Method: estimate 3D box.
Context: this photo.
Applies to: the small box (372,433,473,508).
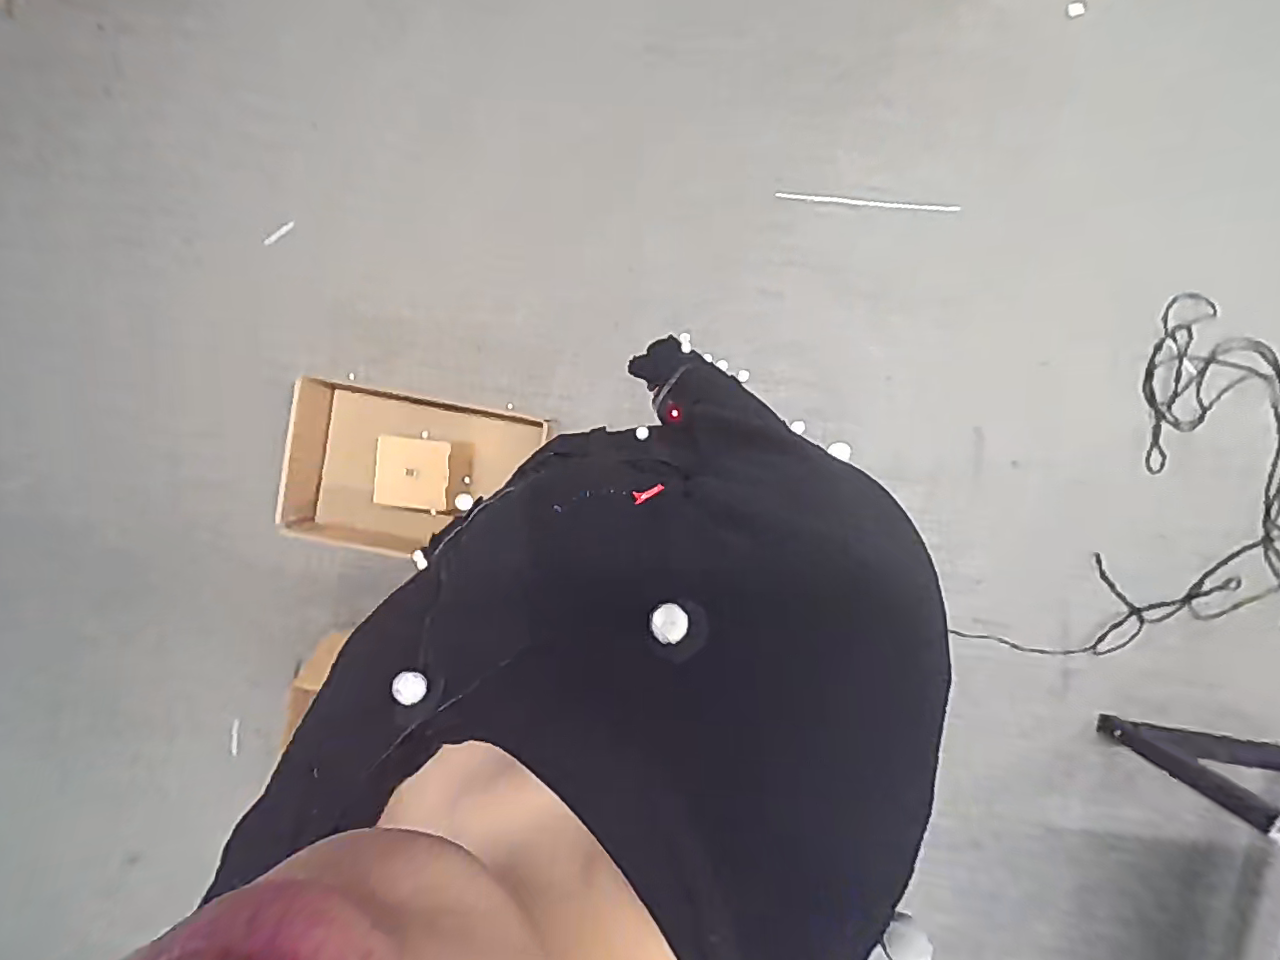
[{"bbox_3d":[-0.538,-0.025,1.350,0.179,0.176,0.168,6,93,1],"label":"small box"}]
